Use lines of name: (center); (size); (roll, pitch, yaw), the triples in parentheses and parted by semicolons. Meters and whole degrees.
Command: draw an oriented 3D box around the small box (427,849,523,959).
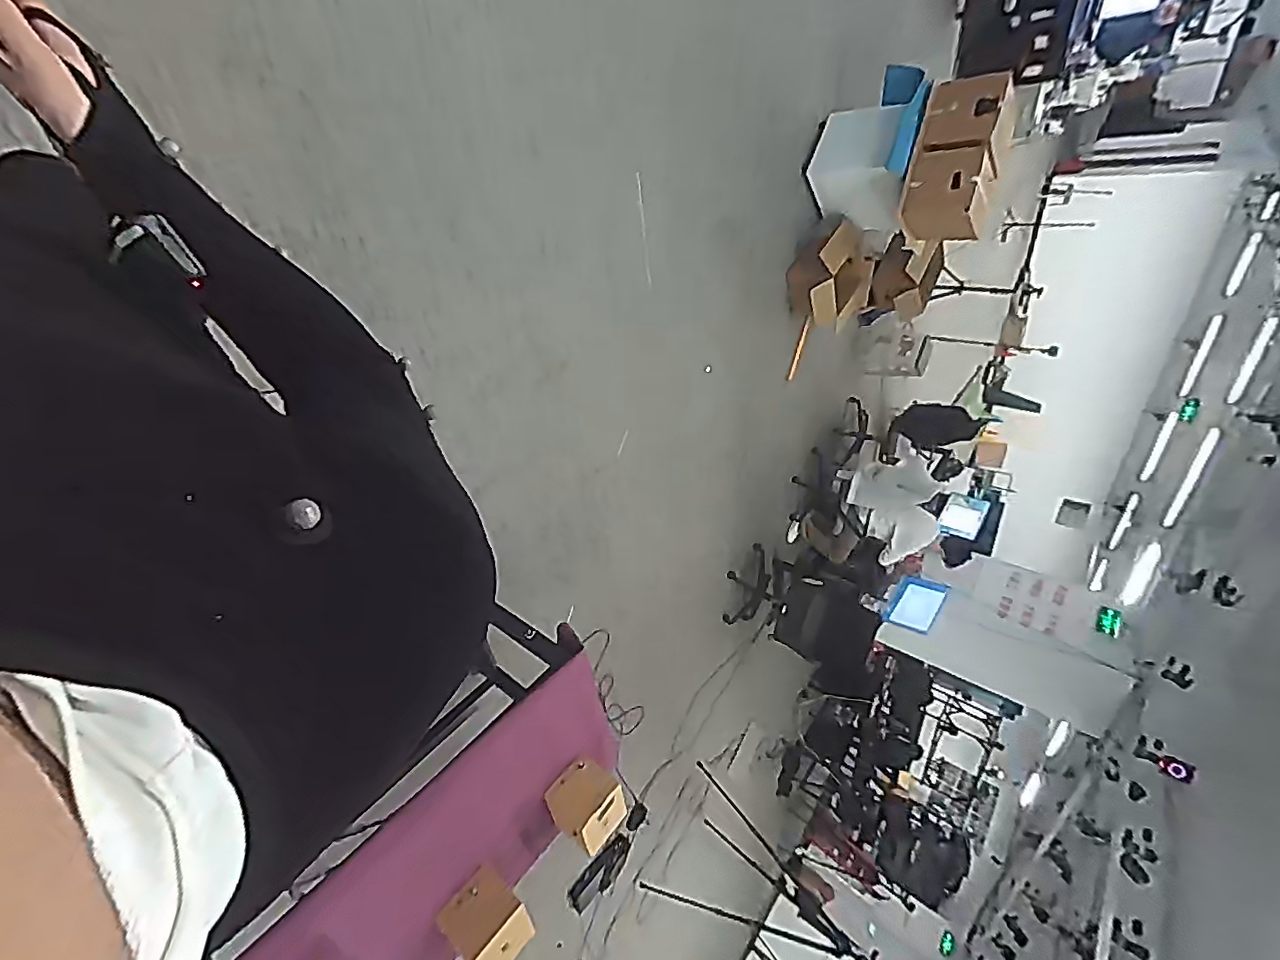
small box: (-0.449, 1.161, 1.477); (0.168, 0.176, 0.179); (-36, 132, -40)

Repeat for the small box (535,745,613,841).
small box: (-0.209, 0.971, 1.697); (0.168, 0.176, 0.179); (-36, 133, -37)
